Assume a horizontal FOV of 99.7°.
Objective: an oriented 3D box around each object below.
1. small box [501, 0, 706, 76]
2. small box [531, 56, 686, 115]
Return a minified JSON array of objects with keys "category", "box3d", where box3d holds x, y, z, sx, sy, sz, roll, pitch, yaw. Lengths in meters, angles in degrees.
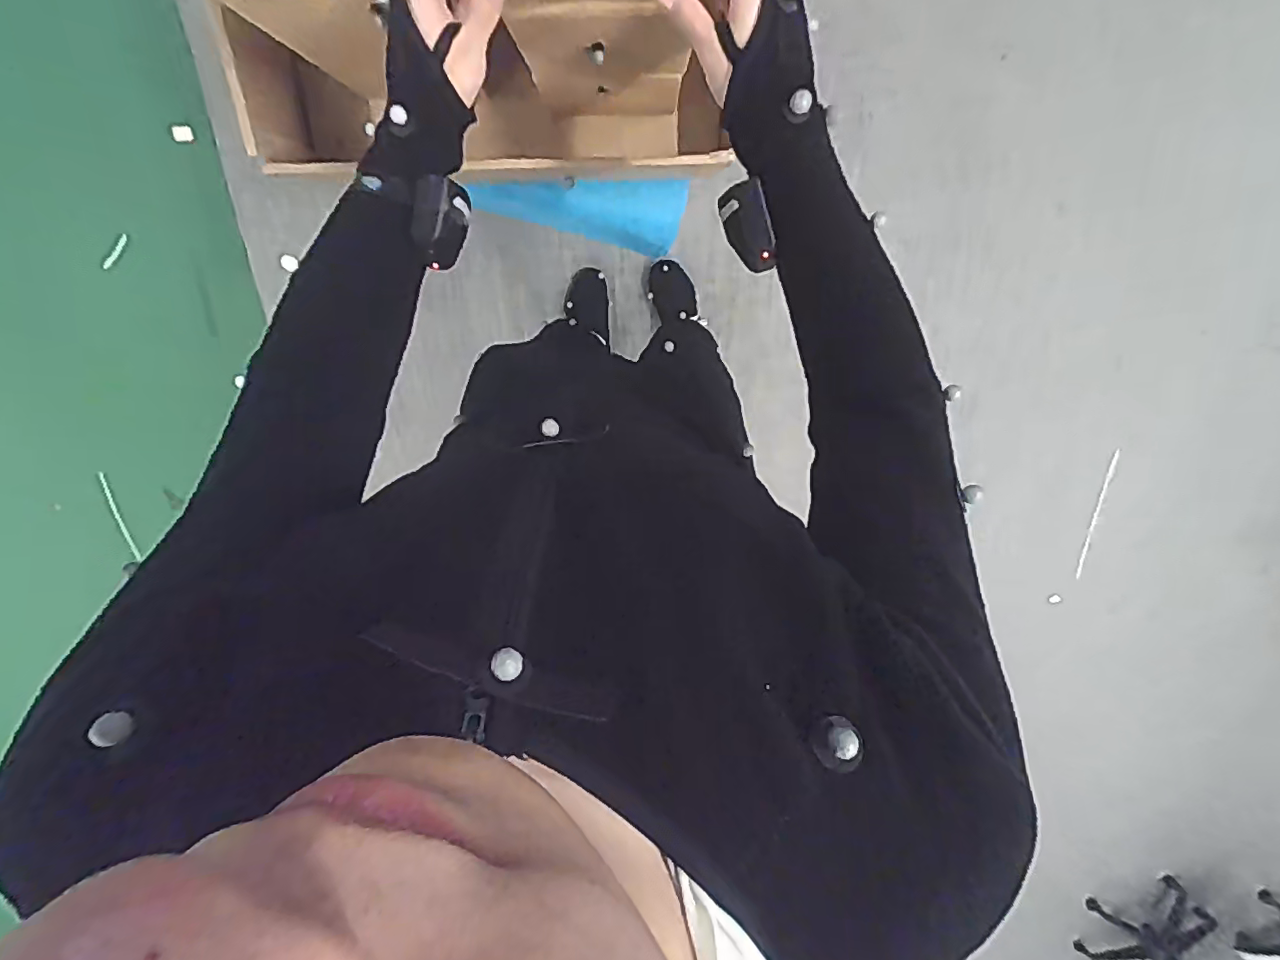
[{"category":"small box","box3d":[-0.032,-0.502,0.503,0.179,0.176,0.168,-1,111,1]},{"category":"small box","box3d":[-0.033,-0.559,0.656,0.179,0.176,0.168,0,112,0]}]
